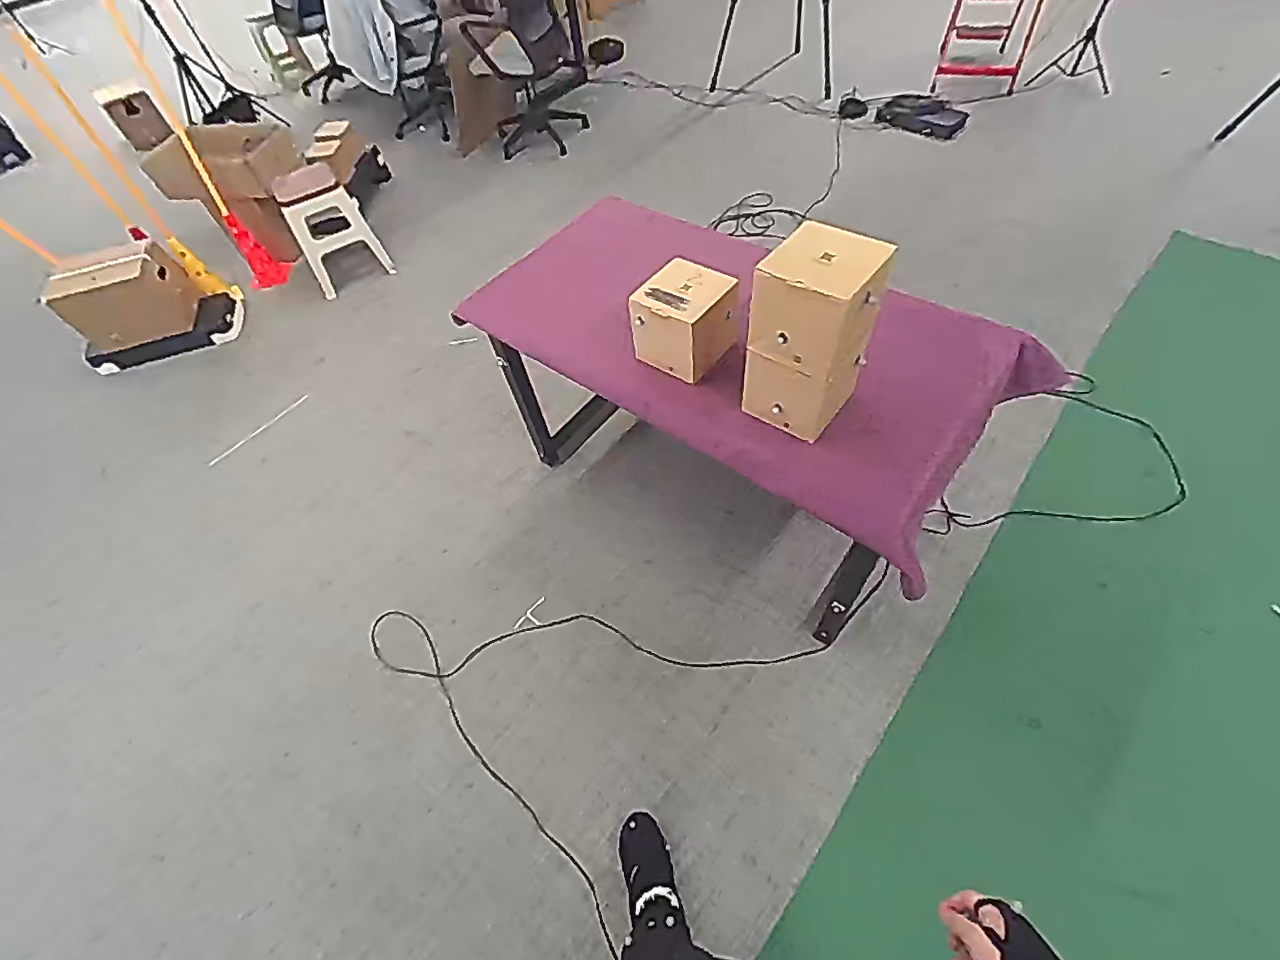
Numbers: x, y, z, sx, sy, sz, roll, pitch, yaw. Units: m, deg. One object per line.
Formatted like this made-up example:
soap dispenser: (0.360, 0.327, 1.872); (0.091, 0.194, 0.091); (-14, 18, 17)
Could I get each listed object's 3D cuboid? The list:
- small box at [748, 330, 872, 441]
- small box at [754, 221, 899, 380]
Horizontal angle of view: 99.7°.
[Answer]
small box: (0.325, -0.213, 1.071); (0.168, 0.176, 0.179); (32, 64, 26)
small box: (0.311, -0.310, 0.941); (0.168, 0.176, 0.179); (32, 64, 25)
